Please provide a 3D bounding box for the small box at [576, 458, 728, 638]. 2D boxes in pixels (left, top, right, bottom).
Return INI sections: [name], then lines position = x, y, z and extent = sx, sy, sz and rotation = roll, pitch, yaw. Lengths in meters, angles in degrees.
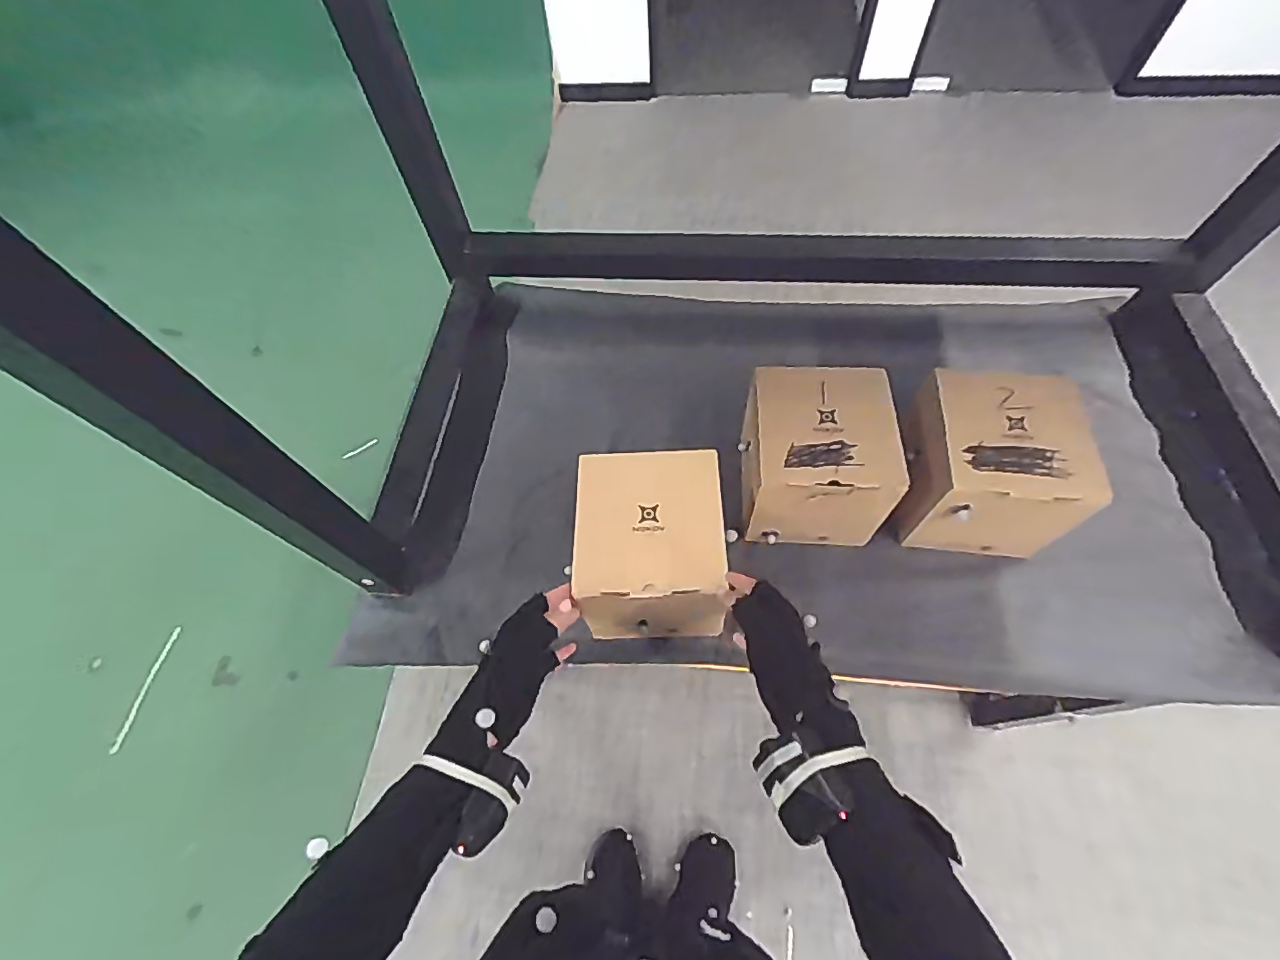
[small box]
position = 0.017, 0.090, 0.685
extent = 0.168, 0.176, 0.179
rotation = -2, 59, 3
